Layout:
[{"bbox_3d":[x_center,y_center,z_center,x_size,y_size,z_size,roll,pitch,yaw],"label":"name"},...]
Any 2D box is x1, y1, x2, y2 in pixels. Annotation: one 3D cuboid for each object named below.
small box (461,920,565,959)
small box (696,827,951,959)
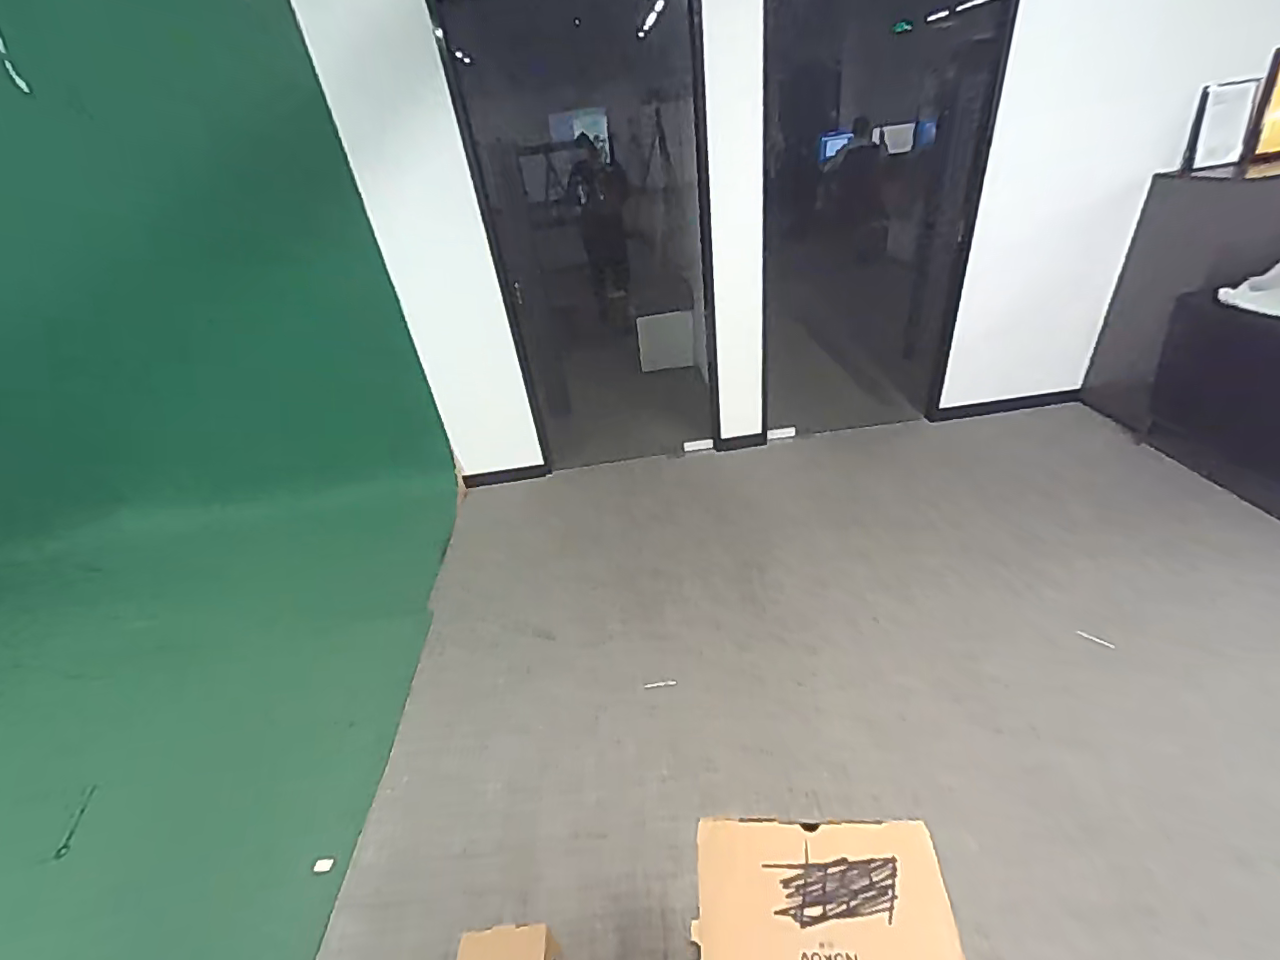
[{"bbox_3d":[-0.237,0.960,1.003,0.168,0.176,0.179,-8,34,2],"label":"small box"},{"bbox_3d":[0.125,0.379,0.398,0.168,0.176,0.179,-3,46,7],"label":"small box"}]
